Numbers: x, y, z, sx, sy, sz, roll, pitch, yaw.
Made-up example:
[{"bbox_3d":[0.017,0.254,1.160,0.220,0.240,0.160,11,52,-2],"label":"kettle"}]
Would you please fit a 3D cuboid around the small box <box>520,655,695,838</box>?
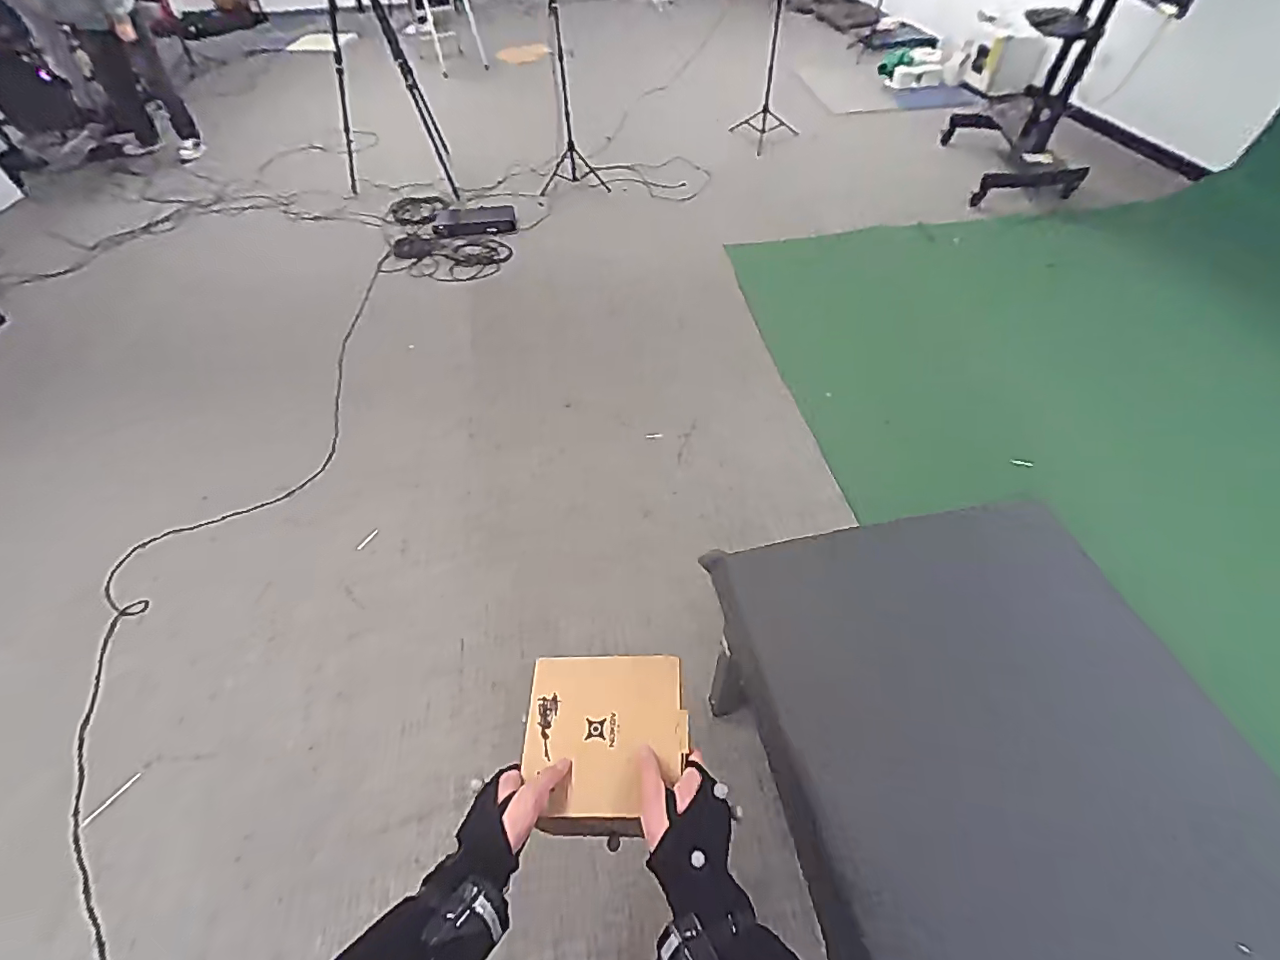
[{"bbox_3d":[-0.028,0.321,0.646,0.179,0.176,0.168,0,52,3],"label":"small box"}]
